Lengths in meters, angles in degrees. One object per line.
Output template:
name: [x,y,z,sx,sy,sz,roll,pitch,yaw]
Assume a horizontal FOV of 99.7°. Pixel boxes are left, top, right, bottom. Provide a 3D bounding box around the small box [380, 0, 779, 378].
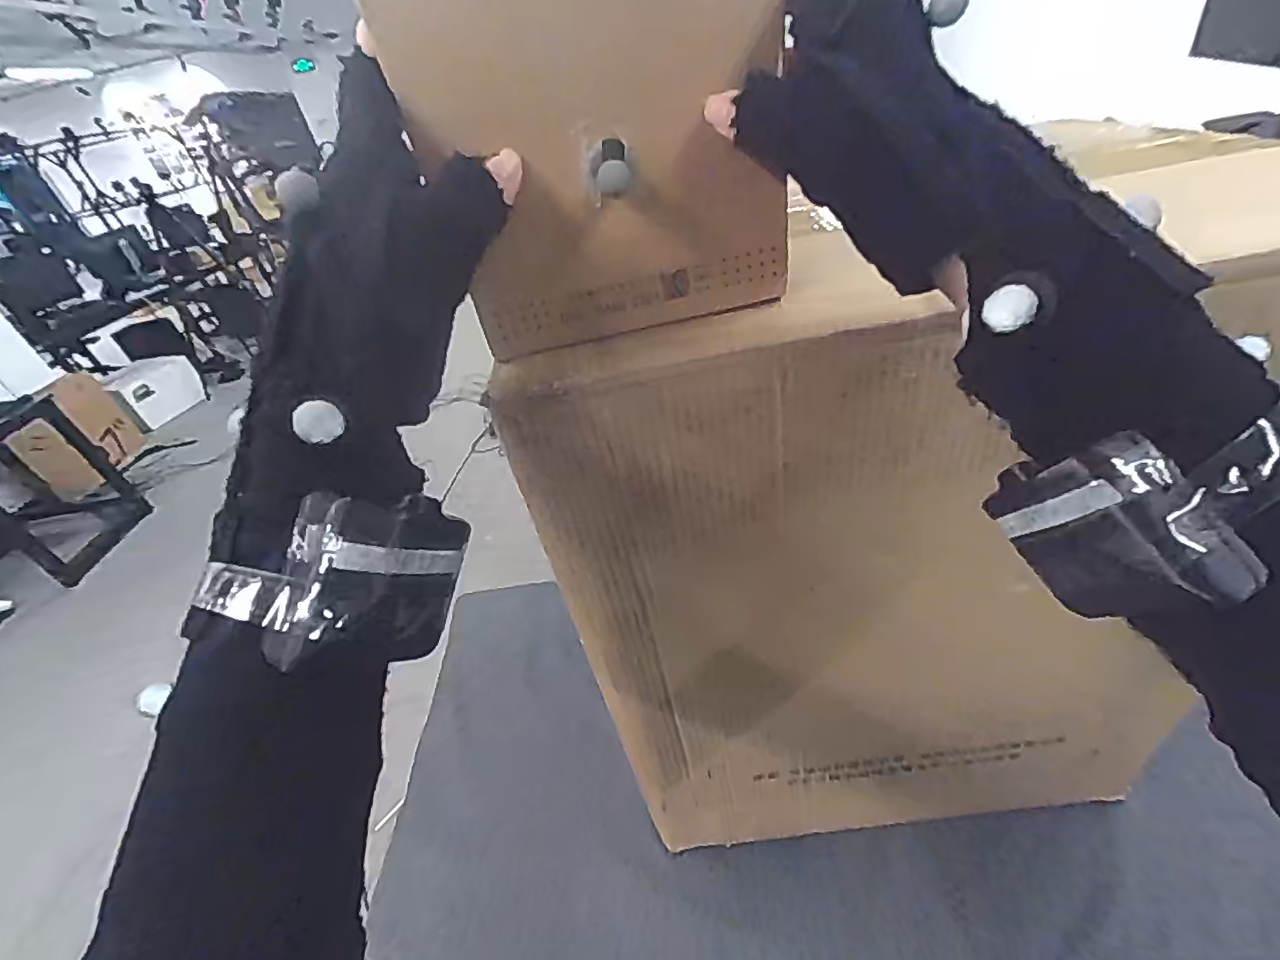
small box: [-0.022,-0.177,0.329,0.168,0.176,0.179,-14,38,1]
